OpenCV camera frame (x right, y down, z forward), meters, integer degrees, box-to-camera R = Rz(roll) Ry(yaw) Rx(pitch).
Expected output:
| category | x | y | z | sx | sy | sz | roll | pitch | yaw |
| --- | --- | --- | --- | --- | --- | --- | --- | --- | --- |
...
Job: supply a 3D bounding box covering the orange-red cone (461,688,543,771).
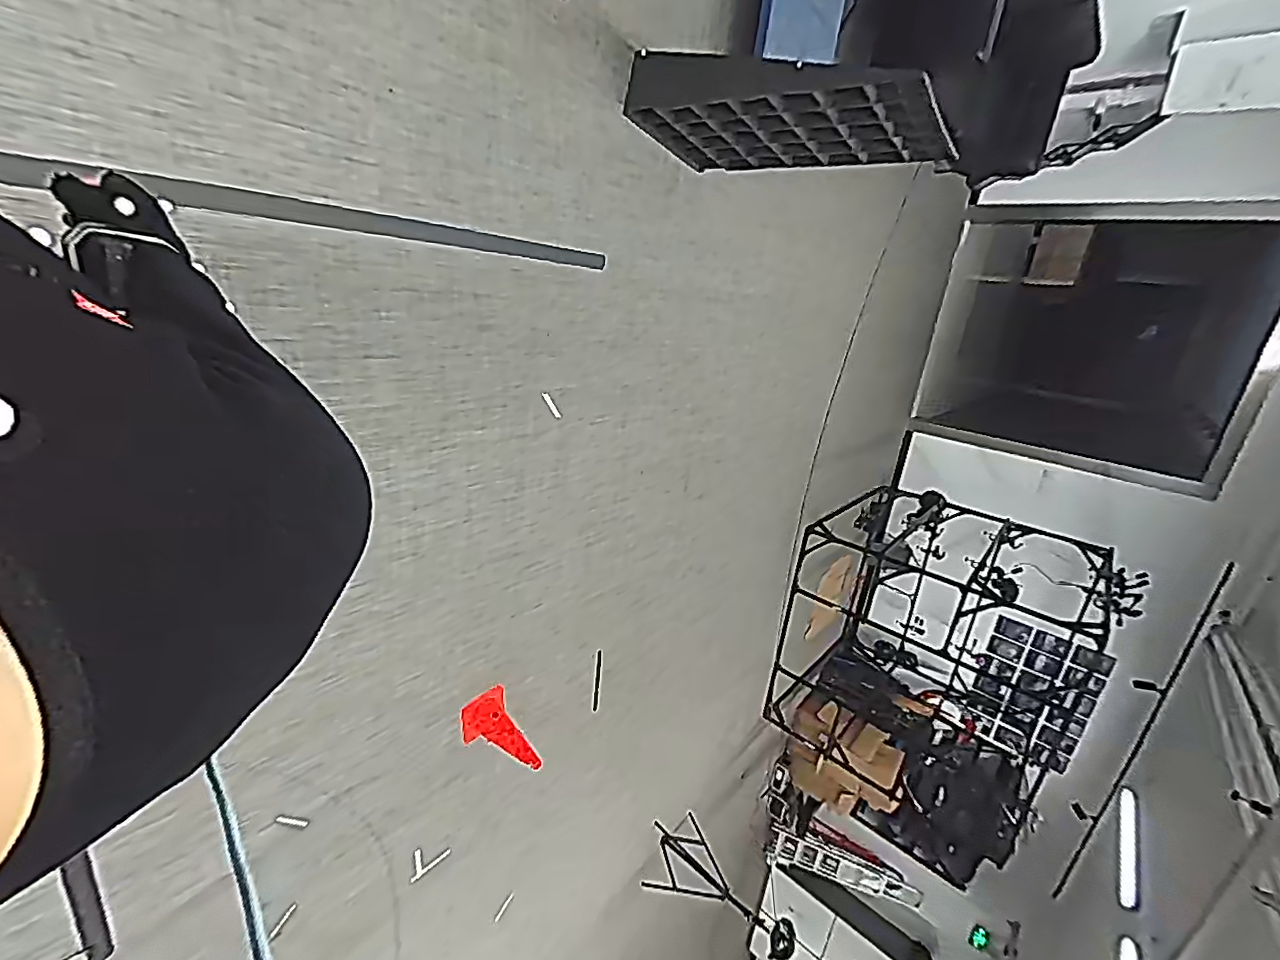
| category | x | y | z | sx | sy | sz | roll | pitch | yaw |
| --- | --- | --- | --- | --- | --- | --- | --- | --- | --- |
| orange-red cone | -0.508 | 1.009 | 2.099 | 0.198 | 0.360 | 0.199 | -21 | 122 | -46 |
